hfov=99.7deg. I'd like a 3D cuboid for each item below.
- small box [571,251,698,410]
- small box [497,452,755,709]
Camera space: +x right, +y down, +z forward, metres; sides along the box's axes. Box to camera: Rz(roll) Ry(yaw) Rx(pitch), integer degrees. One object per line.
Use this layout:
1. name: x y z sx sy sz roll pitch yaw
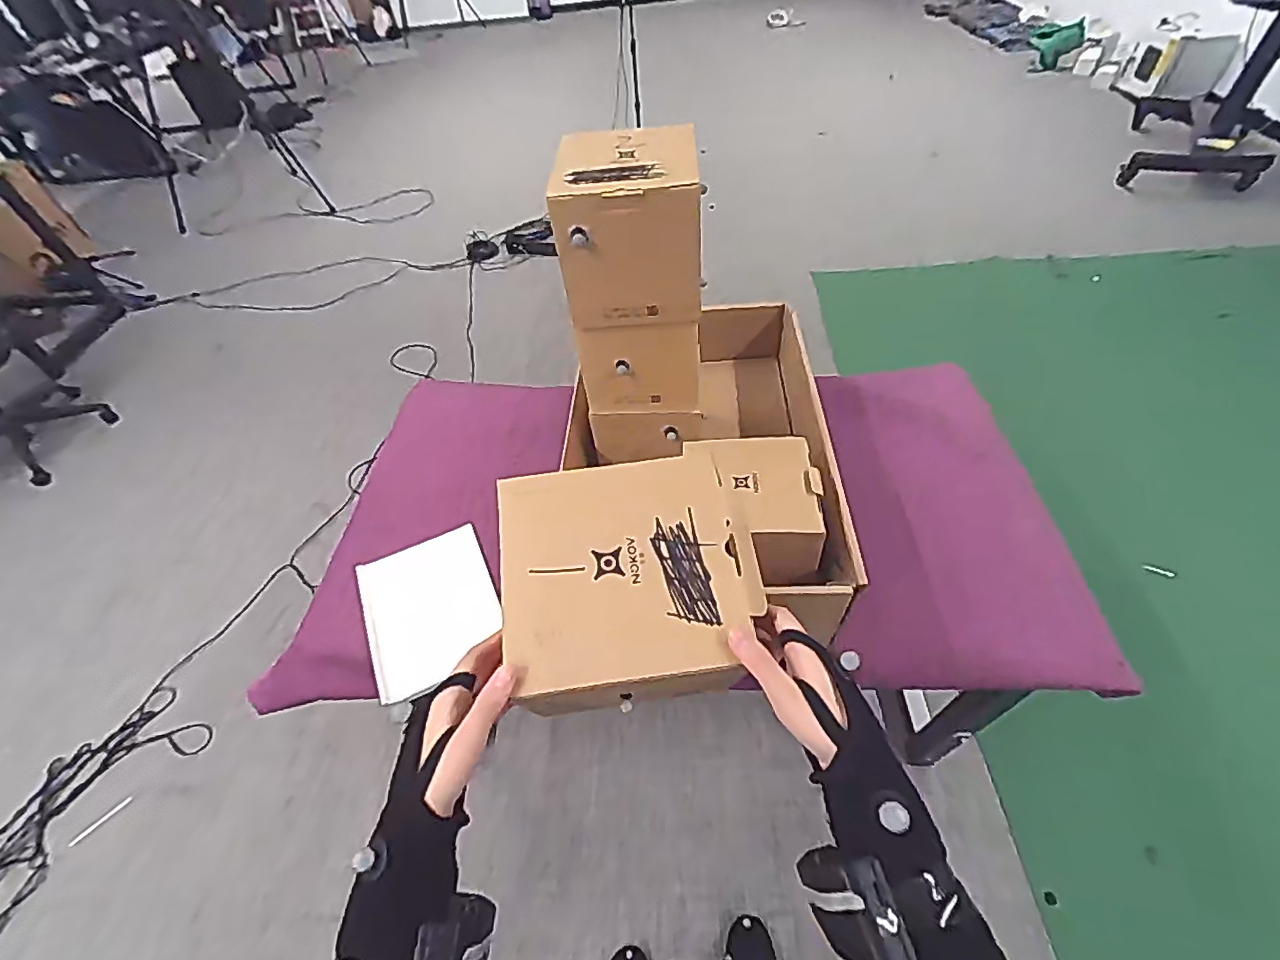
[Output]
1. small box: 0.003 -0.219 0.817 0.168 0.176 0.179 0 51 6
2. small box: -0.018 0.094 0.465 0.179 0.176 0.168 -7 62 -3
